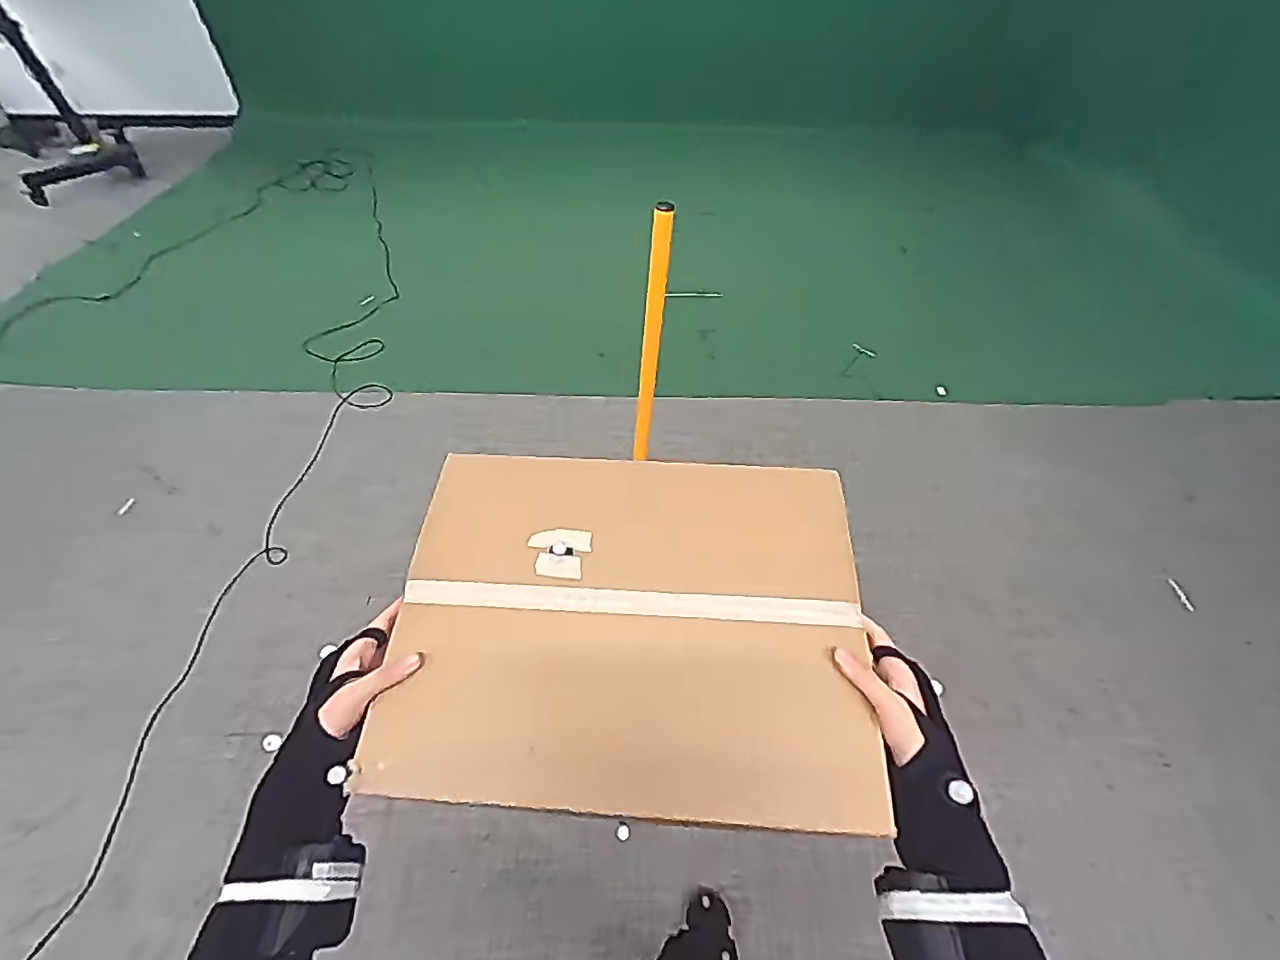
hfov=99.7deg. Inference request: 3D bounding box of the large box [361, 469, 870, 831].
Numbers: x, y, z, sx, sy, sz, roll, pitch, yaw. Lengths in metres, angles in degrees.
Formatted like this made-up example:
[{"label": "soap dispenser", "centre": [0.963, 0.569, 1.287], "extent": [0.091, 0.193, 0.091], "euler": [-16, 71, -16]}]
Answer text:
[{"label": "large box", "centre": [-0.008, 0.201, 0.618], "extent": [0.408, 0.320, 0.320], "euler": [2, 57, 4]}]
